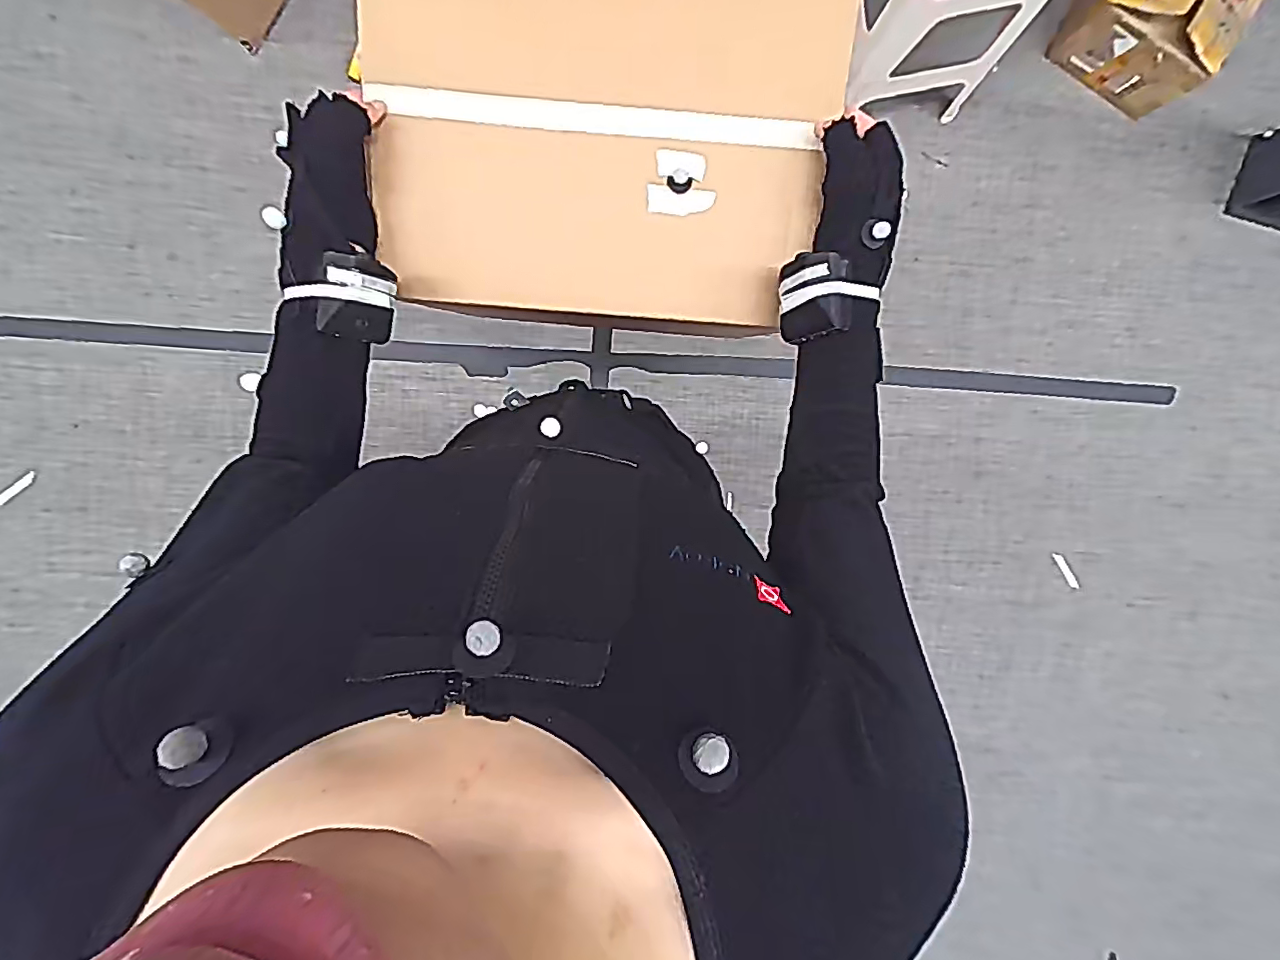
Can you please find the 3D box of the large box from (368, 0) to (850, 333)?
[{"bbox_3d":[-0.035,-0.342,0.609,0.408,0.320,0.320,4,103,-3],"label":"large box"}]
